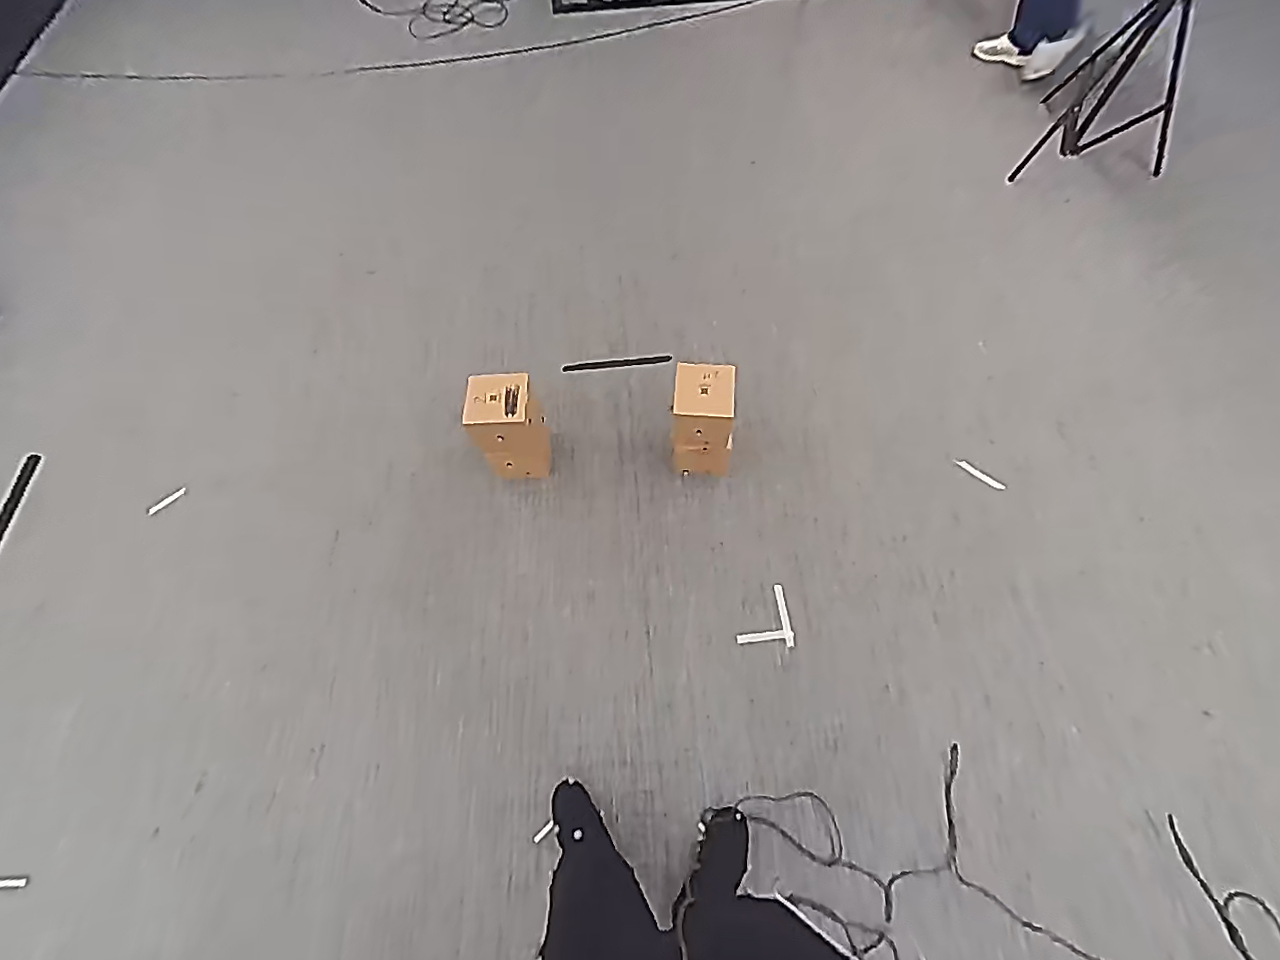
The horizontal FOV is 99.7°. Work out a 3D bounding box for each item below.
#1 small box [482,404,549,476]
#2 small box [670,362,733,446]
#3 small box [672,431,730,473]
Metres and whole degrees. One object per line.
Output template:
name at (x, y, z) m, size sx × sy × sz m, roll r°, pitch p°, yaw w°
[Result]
small box at (-0.387, -0.119, 1.712) m, size 0.168 × 0.176 × 0.179 m, roll -3°, pitch 63°, yaw 1°
small box at (0.174, -0.213, 1.550) m, size 0.168 × 0.176 × 0.179 m, roll 4°, pitch 64°, yaw 3°
small box at (0.186, -0.131, 1.693) m, size 0.168 × 0.176 × 0.179 m, roll -1°, pitch 63°, yaw 1°
